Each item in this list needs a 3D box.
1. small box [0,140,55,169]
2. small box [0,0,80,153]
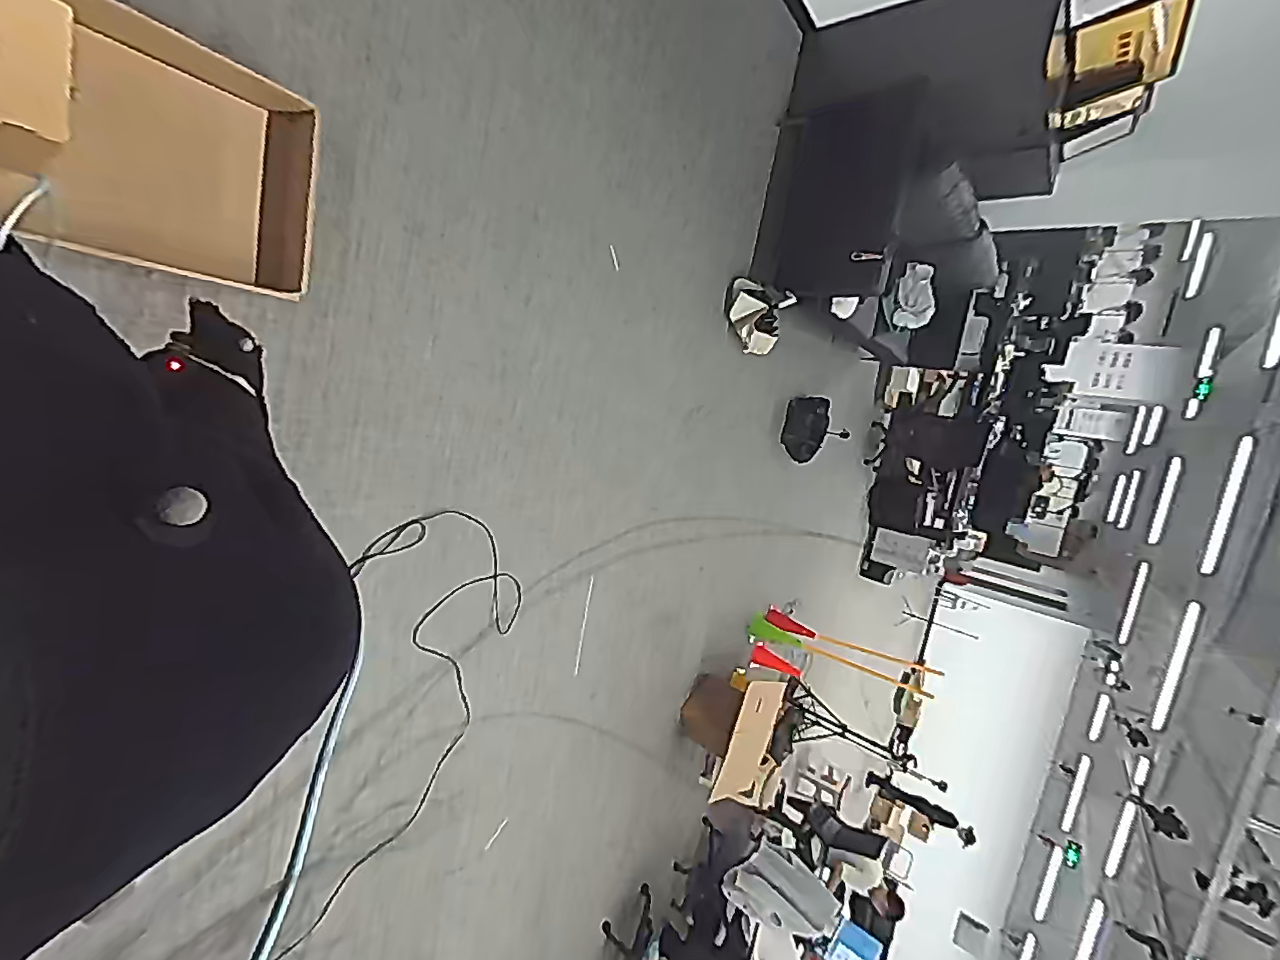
[{"bbox_3d":[-0.993,-0.595,0.801,0.168,0.176,0.179,2,101,-53],"label":"small box"},{"bbox_3d":[-0.866,-0.562,0.705,0.168,0.176,0.179,0,103,-53],"label":"small box"}]
